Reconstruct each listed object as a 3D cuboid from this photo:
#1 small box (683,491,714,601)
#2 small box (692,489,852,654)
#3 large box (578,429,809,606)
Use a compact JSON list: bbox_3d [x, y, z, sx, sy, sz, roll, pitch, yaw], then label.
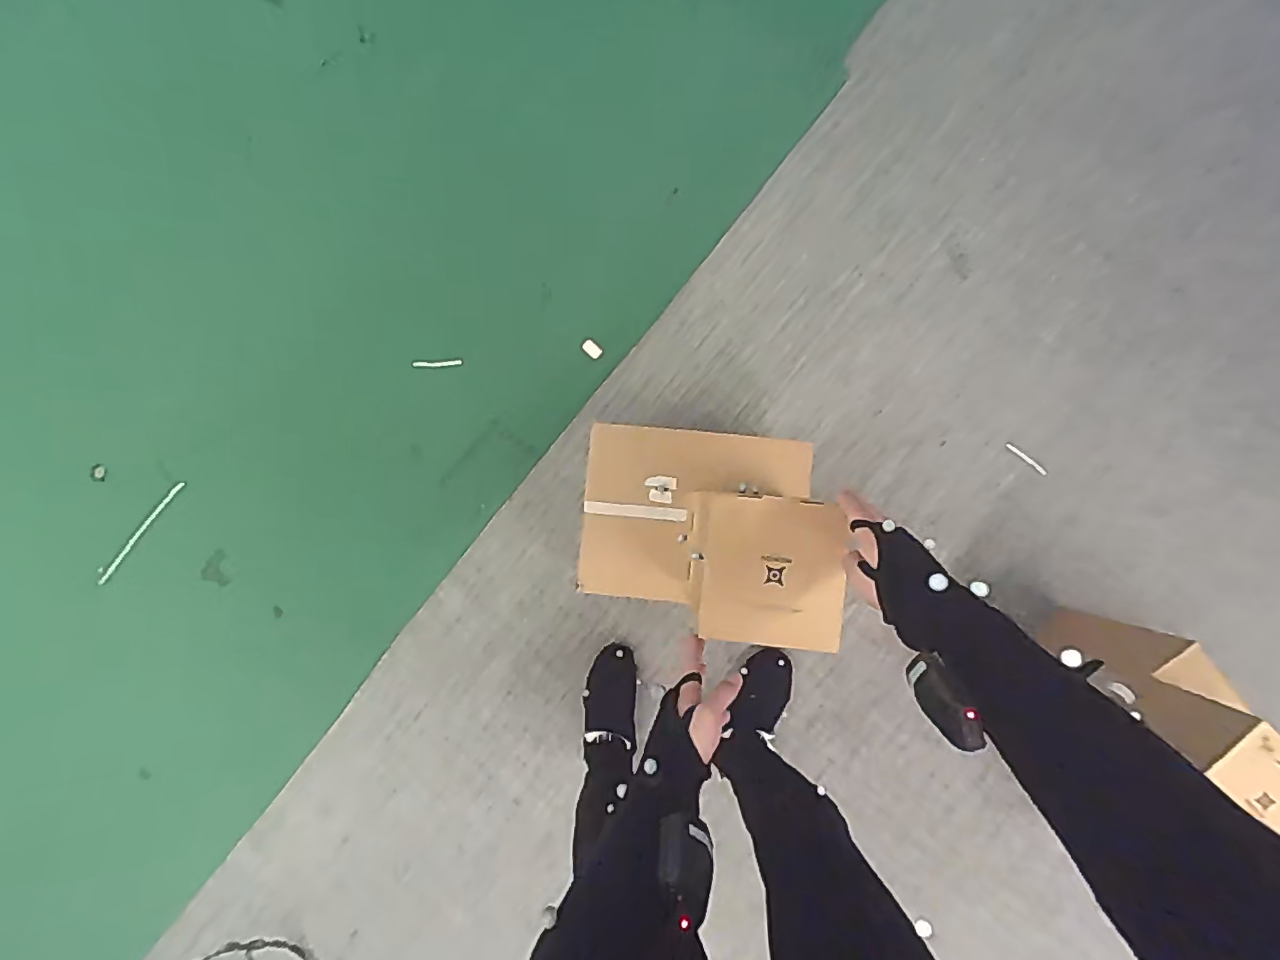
[{"bbox_3d":[0.165,0.105,0.870,0.179,0.176,0.168,4,88,3],"label":"small box"},{"bbox_3d":[0.160,0.108,0.707,0.168,0.176,0.179,6,89,3],"label":"small box"},{"bbox_3d":[0.105,0.078,1.121,0.408,0.320,0.320,5,87,3],"label":"large box"}]
